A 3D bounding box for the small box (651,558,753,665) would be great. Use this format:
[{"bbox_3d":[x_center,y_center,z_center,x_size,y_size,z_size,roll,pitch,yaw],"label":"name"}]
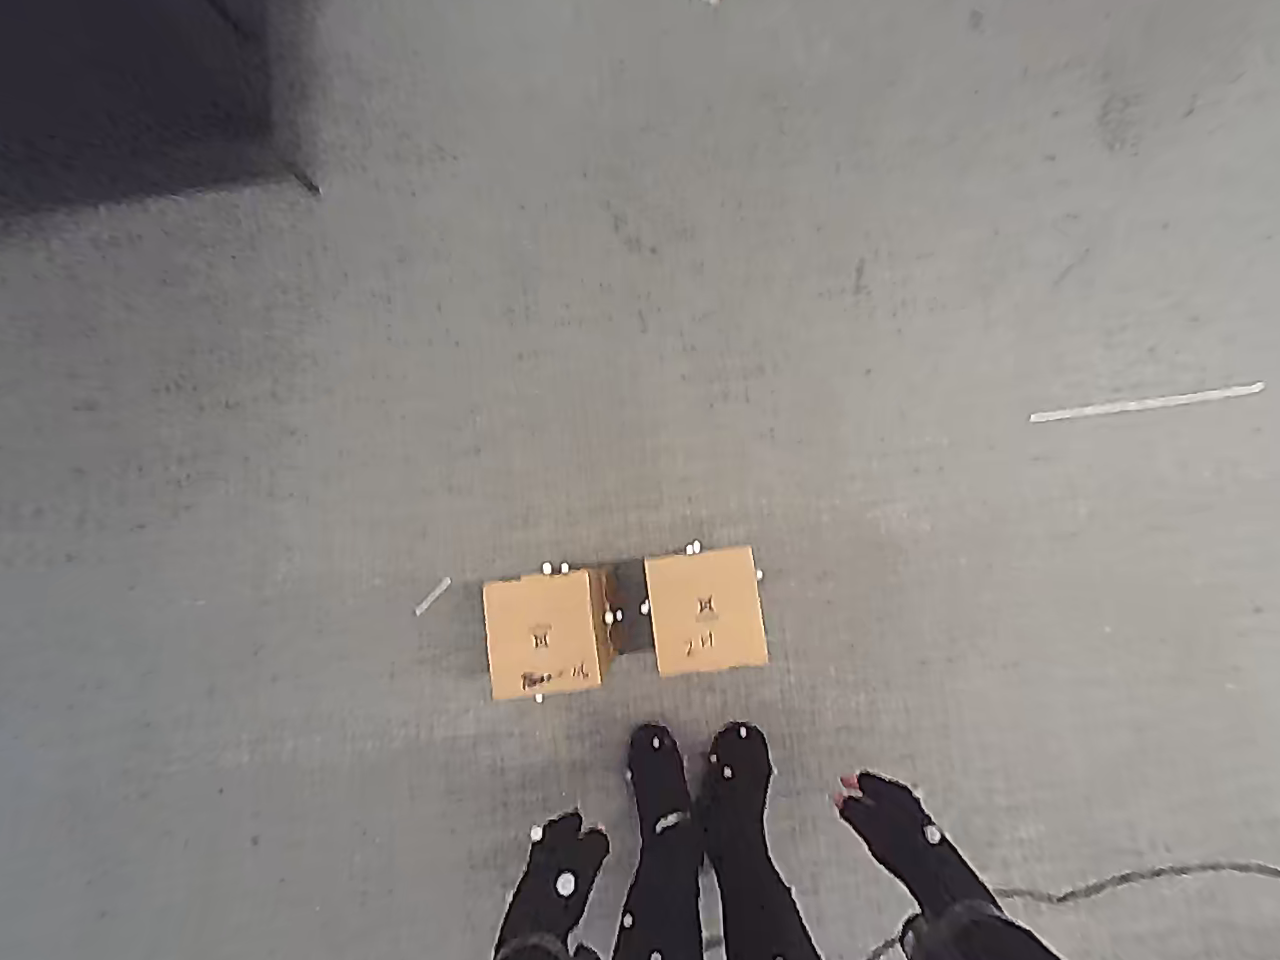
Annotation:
[{"bbox_3d":[0.116,0.248,1.054,0.168,0.176,0.179,-8,81,1],"label":"small box"}]
